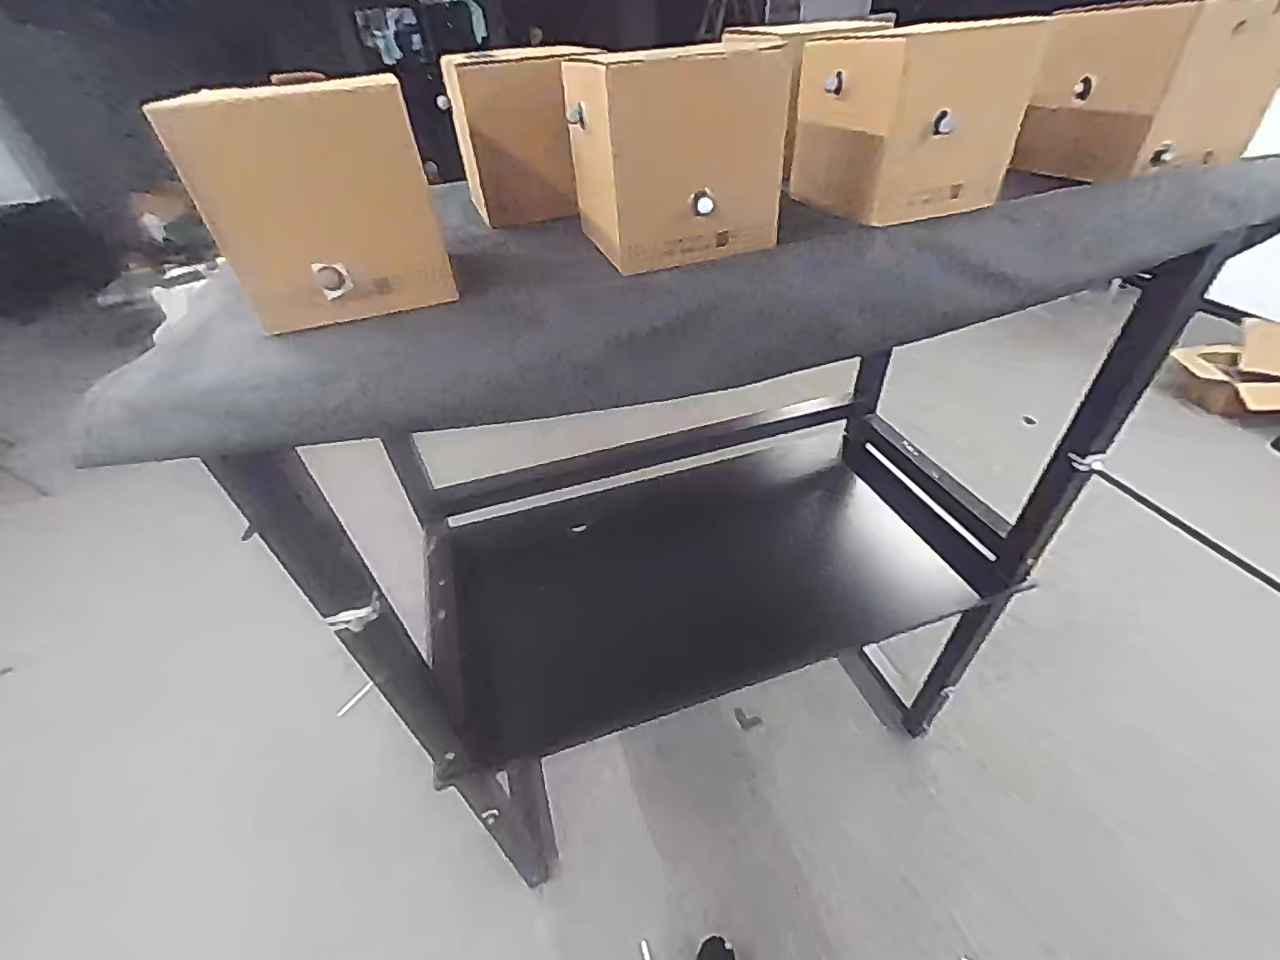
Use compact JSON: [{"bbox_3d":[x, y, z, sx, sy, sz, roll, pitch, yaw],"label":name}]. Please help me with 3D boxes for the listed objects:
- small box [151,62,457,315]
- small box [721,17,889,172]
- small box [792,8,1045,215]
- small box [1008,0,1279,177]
[{"bbox_3d":[-0.278,-0.268,0.493,0.168,0.176,0.179,-17,41,-14],"label":"small box"},{"bbox_3d":[0.227,-0.568,0.801,0.168,0.176,0.179,-15,41,-12],"label":"small box"},{"bbox_3d":[0.291,-0.410,0.612,0.168,0.176,0.179,-15,40,-11],"label":"small box"},{"bbox_3d":[0.598,-0.474,0.651,0.168,0.176,0.179,-13,38,-9],"label":"small box"}]
